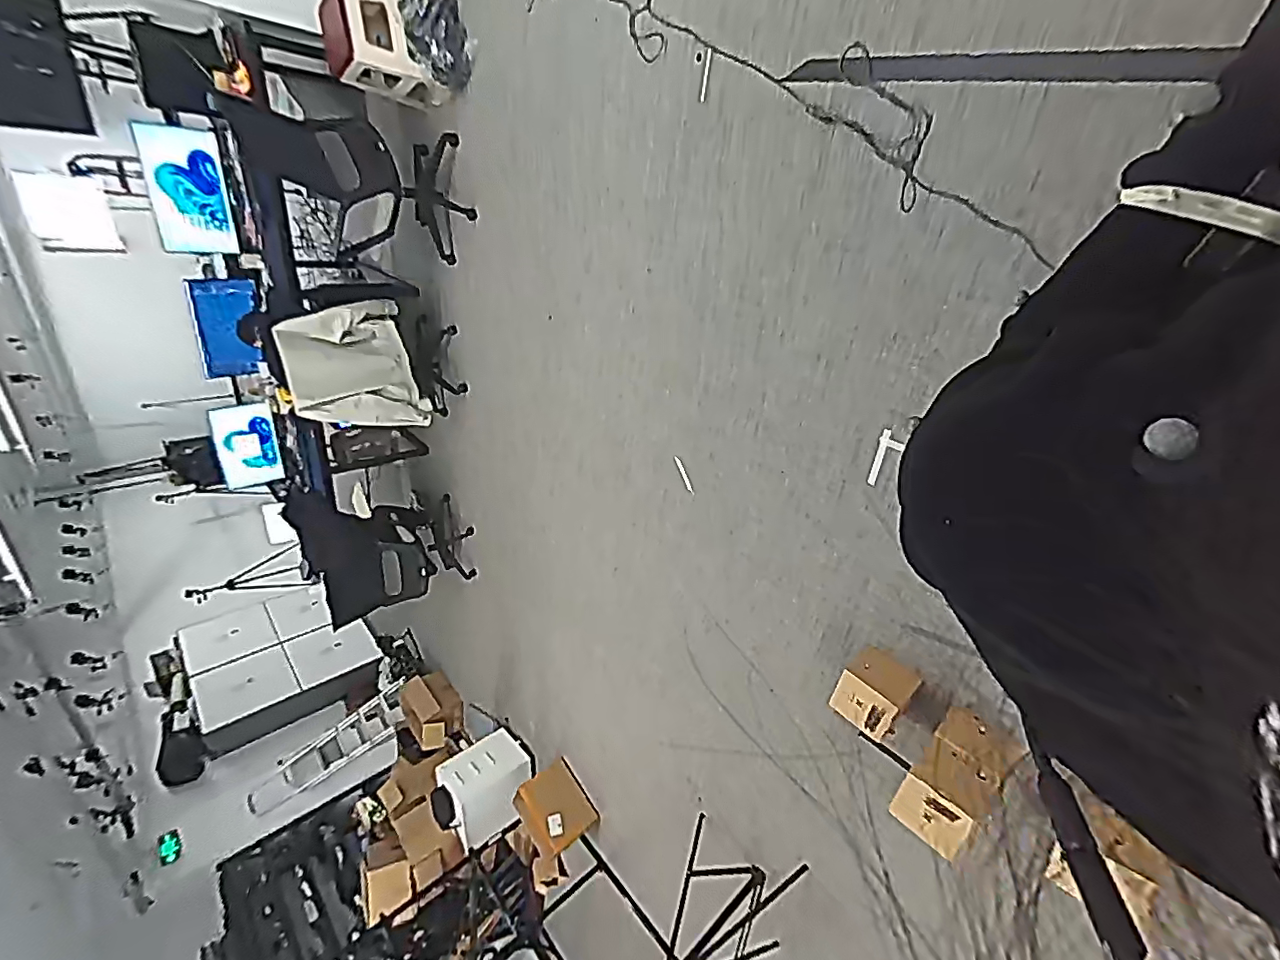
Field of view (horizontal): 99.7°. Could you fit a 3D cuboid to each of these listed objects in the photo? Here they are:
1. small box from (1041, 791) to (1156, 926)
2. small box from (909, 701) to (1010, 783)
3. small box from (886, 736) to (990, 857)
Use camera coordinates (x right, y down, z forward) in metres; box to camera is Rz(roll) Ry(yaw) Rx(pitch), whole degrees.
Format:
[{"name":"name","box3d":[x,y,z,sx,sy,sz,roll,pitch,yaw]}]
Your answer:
[{"name":"small box","box3d":[1.120,0.910,1.319,0.179,0.176,0.168,18,117,43]},{"name":"small box","box3d":[0.897,0.764,1.512,0.168,0.176,0.179,35,128,35]},{"name":"small box","box3d":[0.778,0.815,1.409,0.168,0.176,0.179,32,127,37]}]
